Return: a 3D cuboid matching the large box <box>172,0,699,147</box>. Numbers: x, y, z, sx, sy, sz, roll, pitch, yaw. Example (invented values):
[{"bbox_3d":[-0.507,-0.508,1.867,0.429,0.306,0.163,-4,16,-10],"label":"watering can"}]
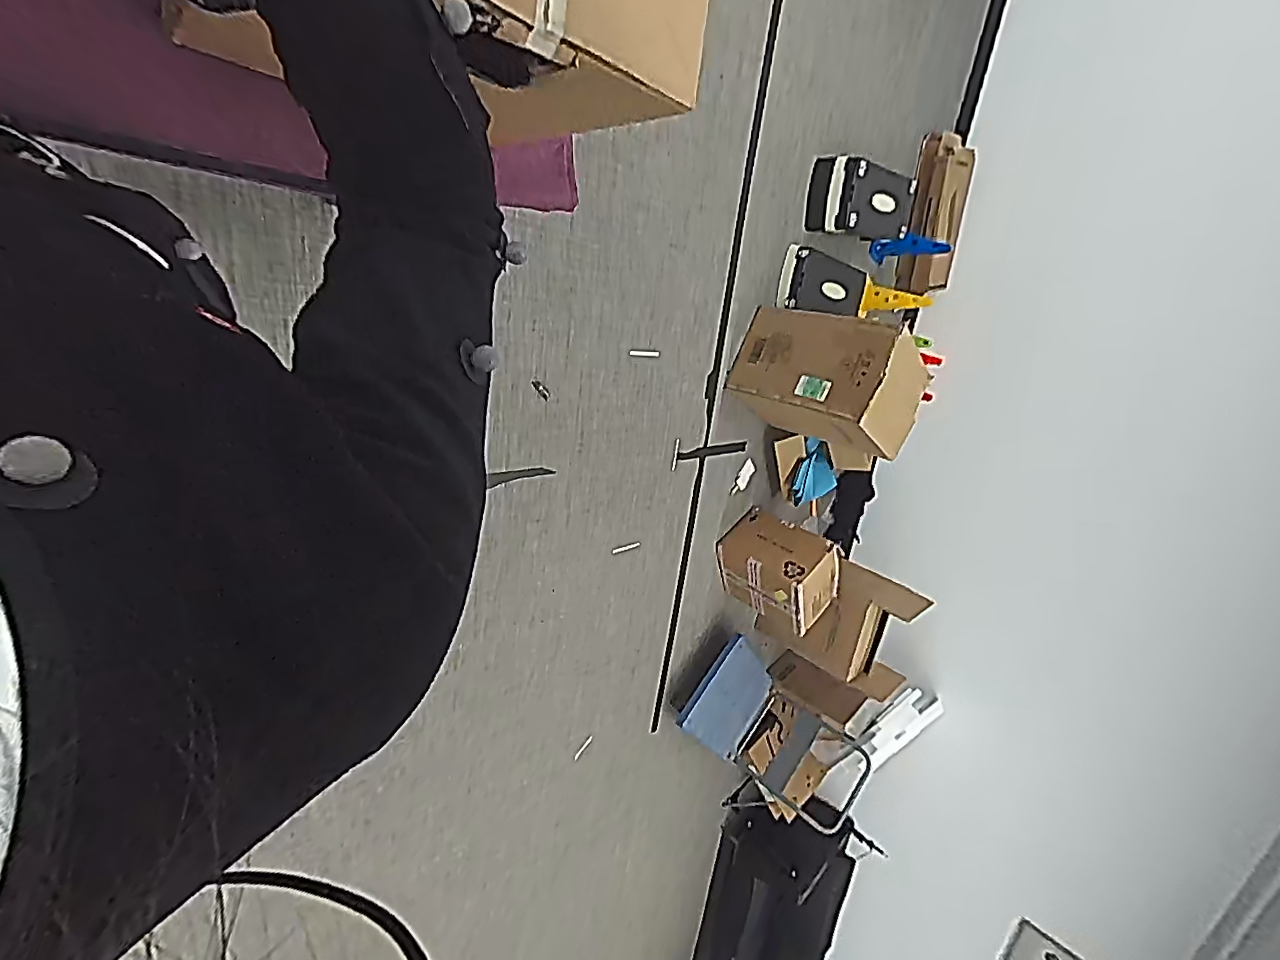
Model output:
[{"bbox_3d":[-0.151,-0.518,0.389,0.320,0.320,0.408,-11,115,-45],"label":"large box"}]
